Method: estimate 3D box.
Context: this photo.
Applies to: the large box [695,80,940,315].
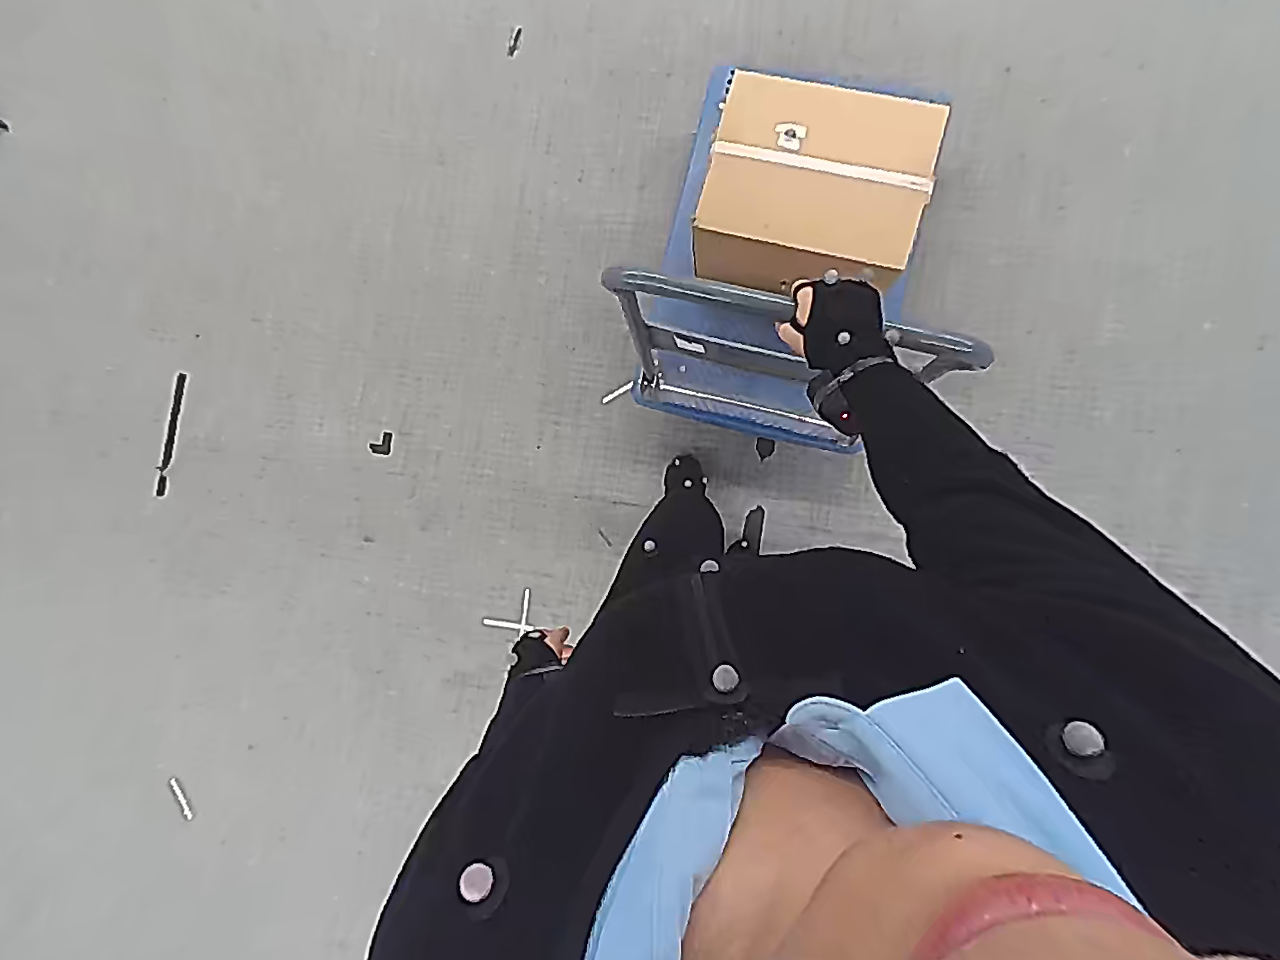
[{"bbox_3d":[0.357,-0.588,1.177,0.408,0.320,0.320,15,89,9],"label":"large box"}]
